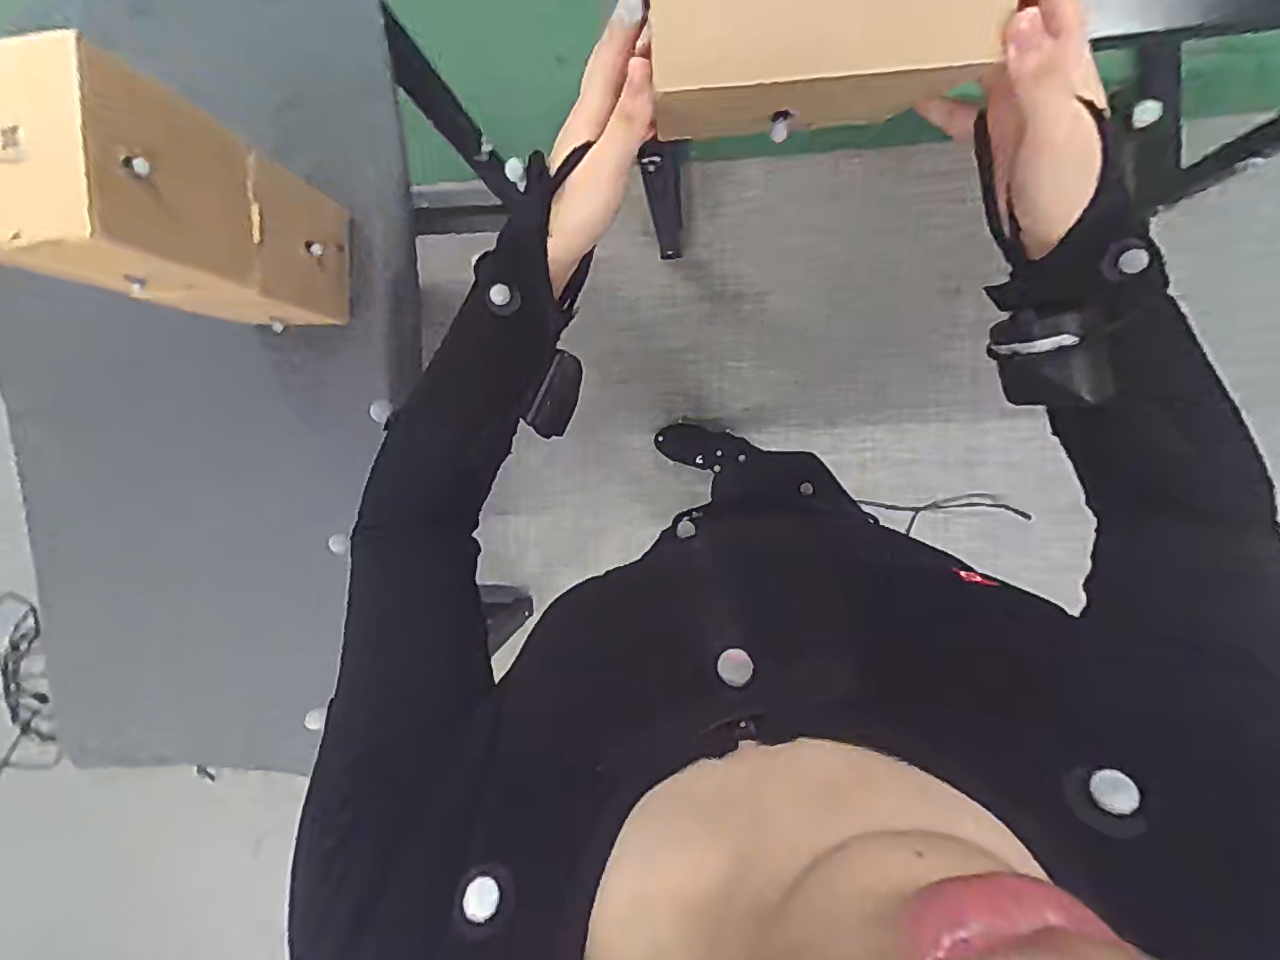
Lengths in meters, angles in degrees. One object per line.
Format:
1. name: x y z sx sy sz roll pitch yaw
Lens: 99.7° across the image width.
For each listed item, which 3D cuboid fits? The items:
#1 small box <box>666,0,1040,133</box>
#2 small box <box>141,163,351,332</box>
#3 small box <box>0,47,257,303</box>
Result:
1. small box: 0.098 -0.299 0.291 0.168 0.176 0.179 -2 116 4
2. small box: -0.515 -0.298 0.725 0.179 0.176 0.168 2 95 8
3. small box: -0.540 -0.296 0.564 0.168 0.176 0.179 0 95 9
